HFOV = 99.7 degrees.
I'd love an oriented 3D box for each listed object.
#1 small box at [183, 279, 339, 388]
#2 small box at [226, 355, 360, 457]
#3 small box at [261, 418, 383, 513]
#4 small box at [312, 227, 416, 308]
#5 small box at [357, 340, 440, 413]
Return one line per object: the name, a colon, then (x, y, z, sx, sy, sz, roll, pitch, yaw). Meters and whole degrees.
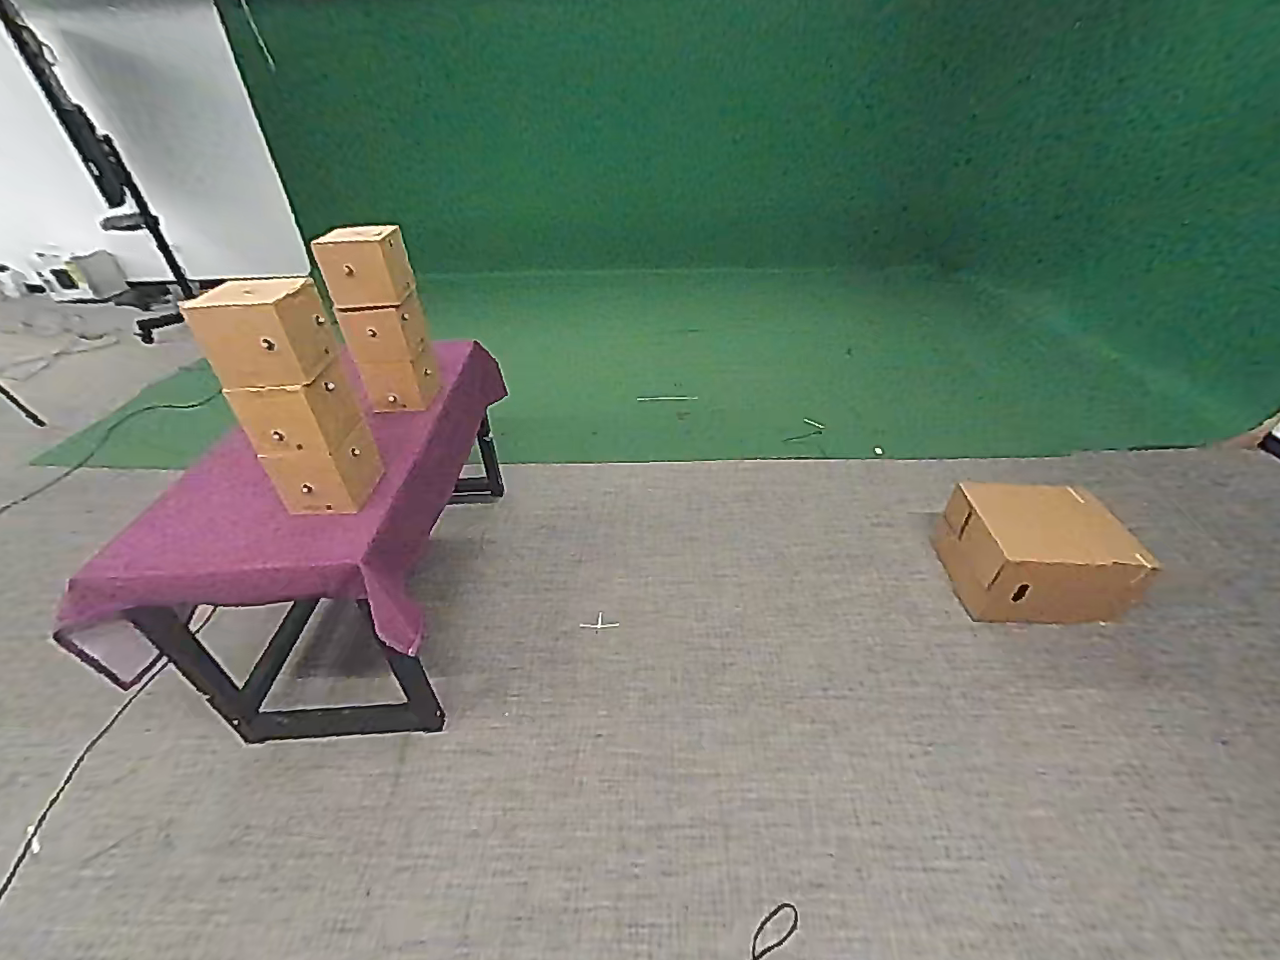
small box: (-0.756, -0.298, 1.106, 0.179, 0.176, 0.168, -3, 37, 0)
small box: (-0.753, -0.166, 1.202, 0.168, 0.176, 0.179, -1, 38, 2)
small box: (-0.746, -0.032, 1.295, 0.168, 0.176, 0.179, -1, 37, 2)
small box: (-0.741, -0.576, 1.473, 0.179, 0.176, 0.168, -4, 38, 0)
small box: (-0.741, -0.323, 1.685, 0.168, 0.176, 0.179, -2, 38, 2)
